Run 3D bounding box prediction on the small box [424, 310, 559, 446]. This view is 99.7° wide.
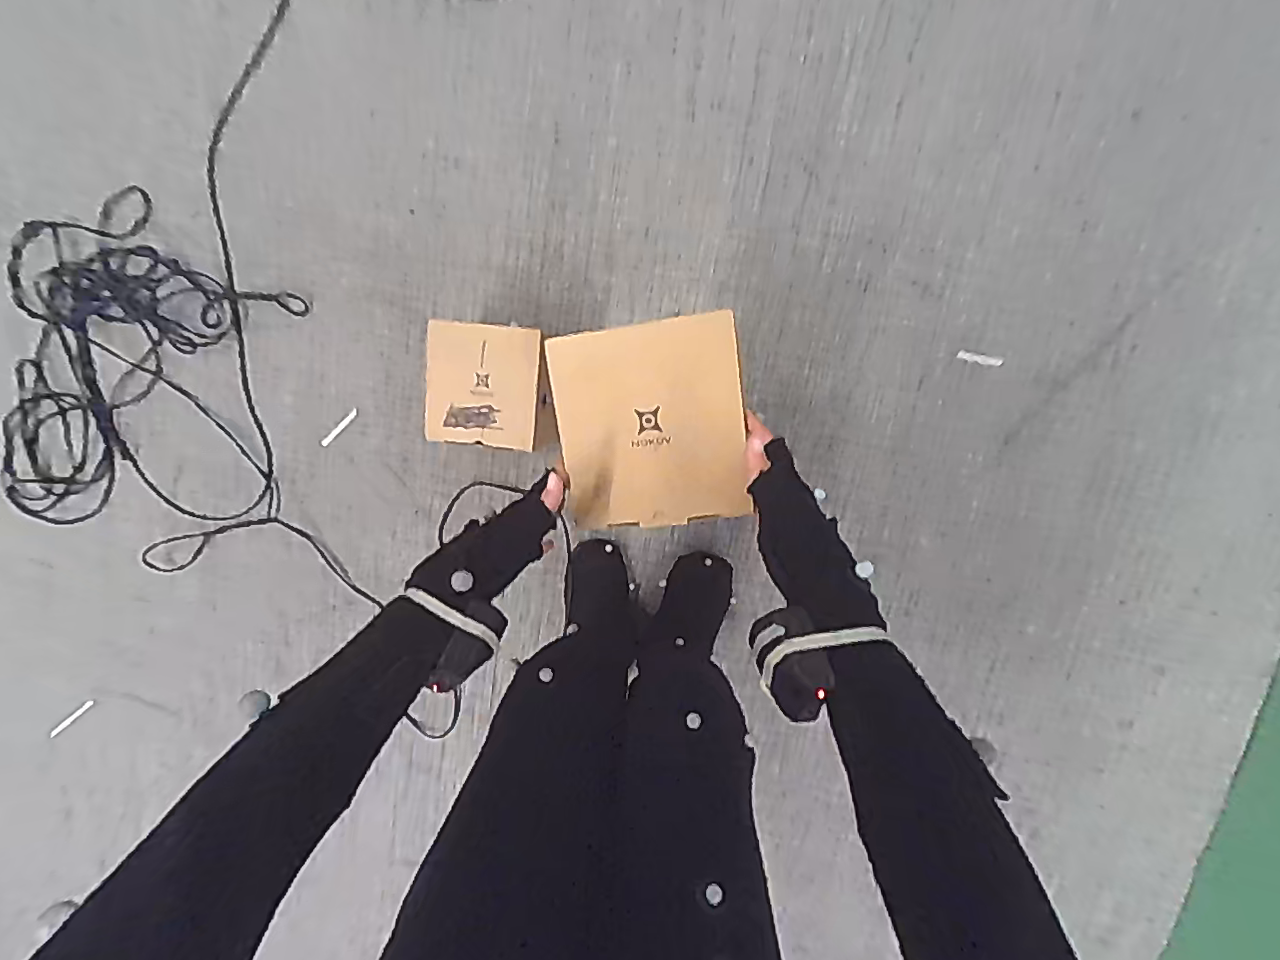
[{"bbox_3d":[-0.219,-0.159,0.847,0.168,0.176,0.179,7,101,3],"label":"small box"}]

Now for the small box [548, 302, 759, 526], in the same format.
[{"bbox_3d":[0.023,-0.066,0.533,0.168,0.176,0.179,-5,101,11],"label":"small box"}]
